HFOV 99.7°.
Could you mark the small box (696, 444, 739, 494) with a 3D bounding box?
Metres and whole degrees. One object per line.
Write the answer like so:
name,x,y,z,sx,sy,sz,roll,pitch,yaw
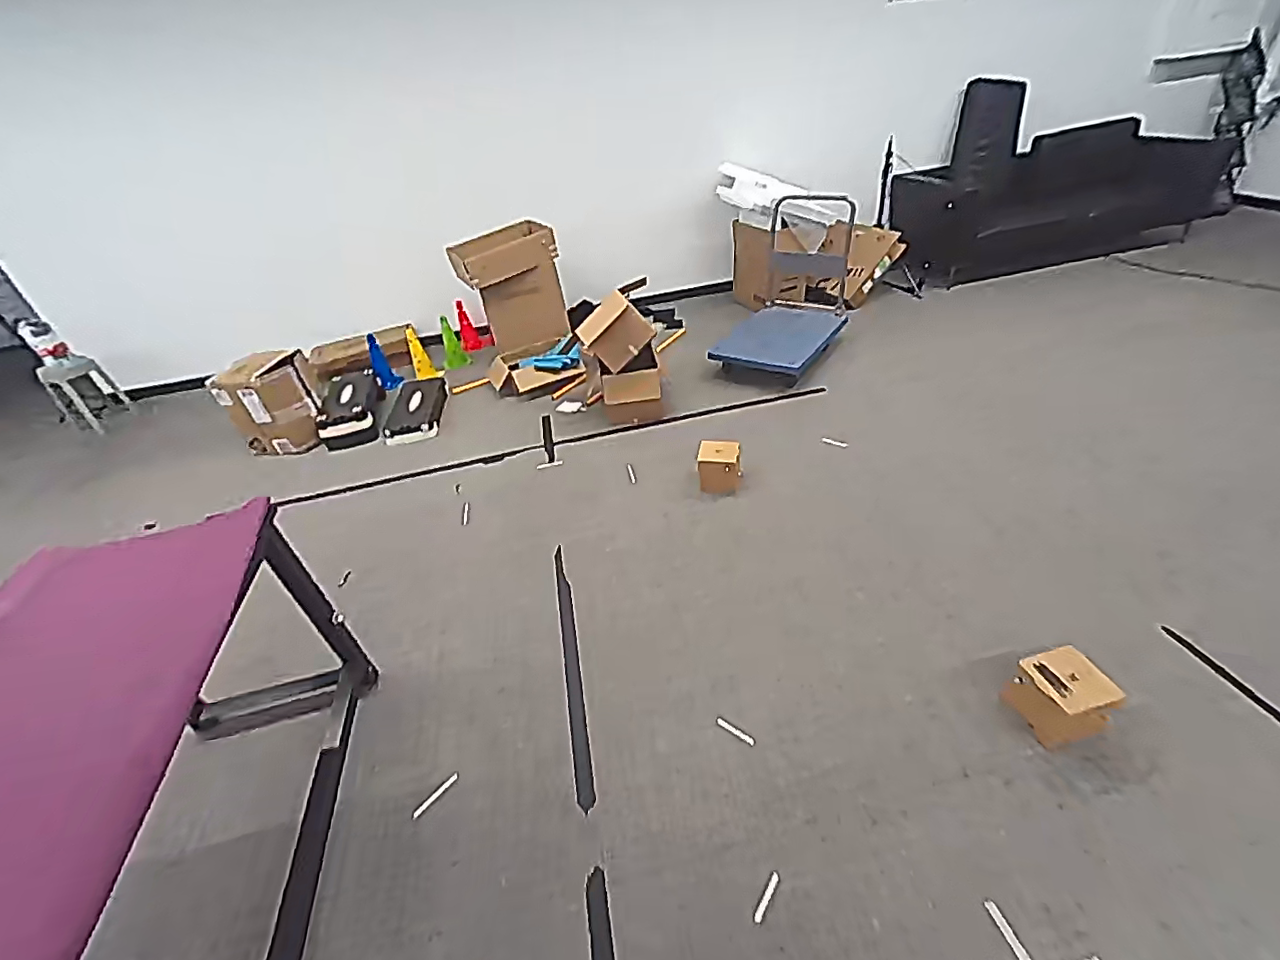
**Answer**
small box,0.358,-0.049,2.475,0.179,0.176,0.168,3,37,14
